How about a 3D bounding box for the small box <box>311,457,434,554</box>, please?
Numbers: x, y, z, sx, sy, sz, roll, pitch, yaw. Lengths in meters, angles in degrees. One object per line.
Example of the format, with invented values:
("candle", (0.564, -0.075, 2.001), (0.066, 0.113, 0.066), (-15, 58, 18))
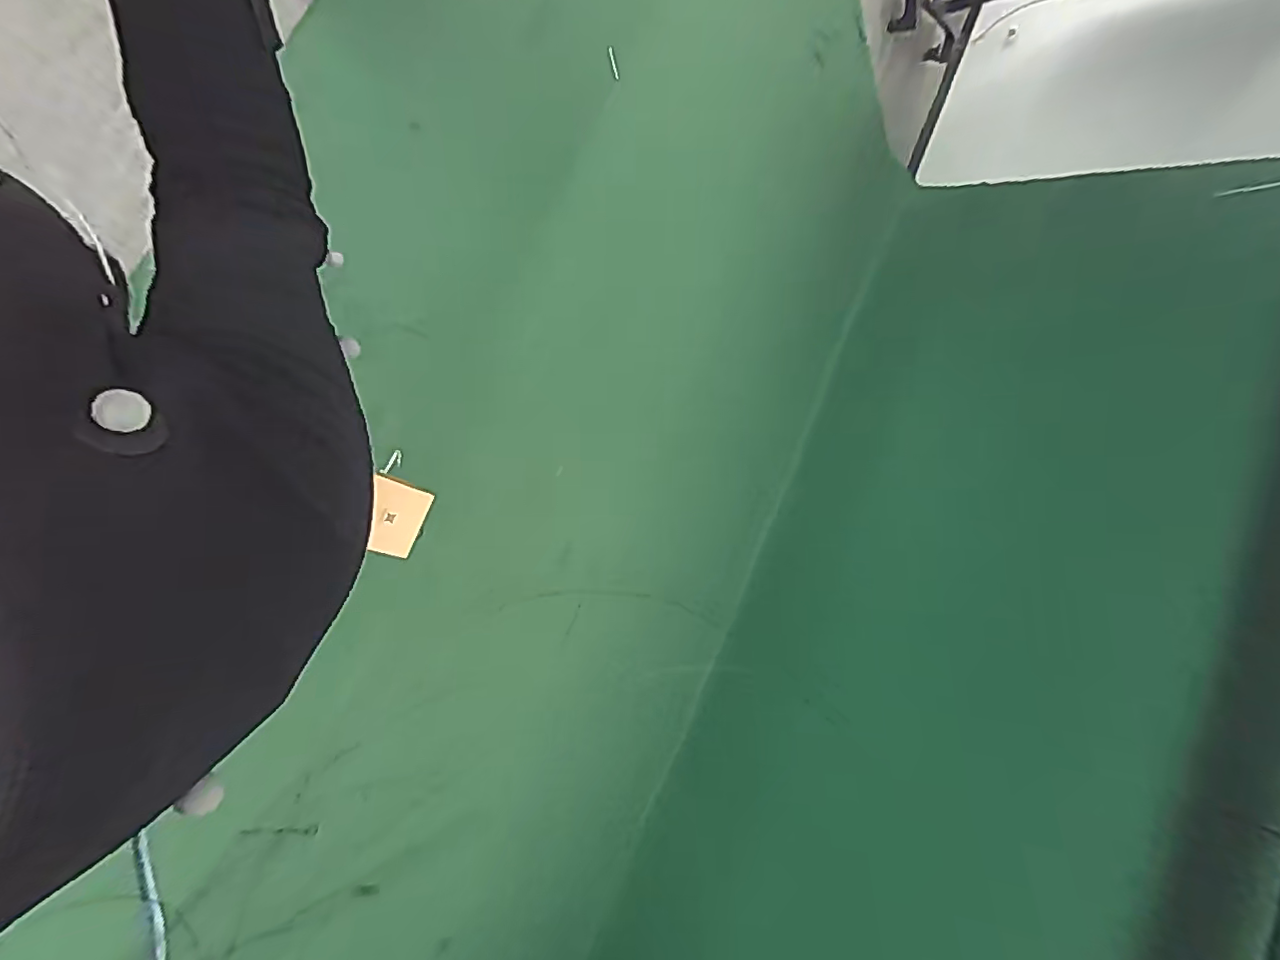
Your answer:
("small box", (-0.635, 0.058, 1.285), (0.179, 0.176, 0.168), (30, 81, -50))
